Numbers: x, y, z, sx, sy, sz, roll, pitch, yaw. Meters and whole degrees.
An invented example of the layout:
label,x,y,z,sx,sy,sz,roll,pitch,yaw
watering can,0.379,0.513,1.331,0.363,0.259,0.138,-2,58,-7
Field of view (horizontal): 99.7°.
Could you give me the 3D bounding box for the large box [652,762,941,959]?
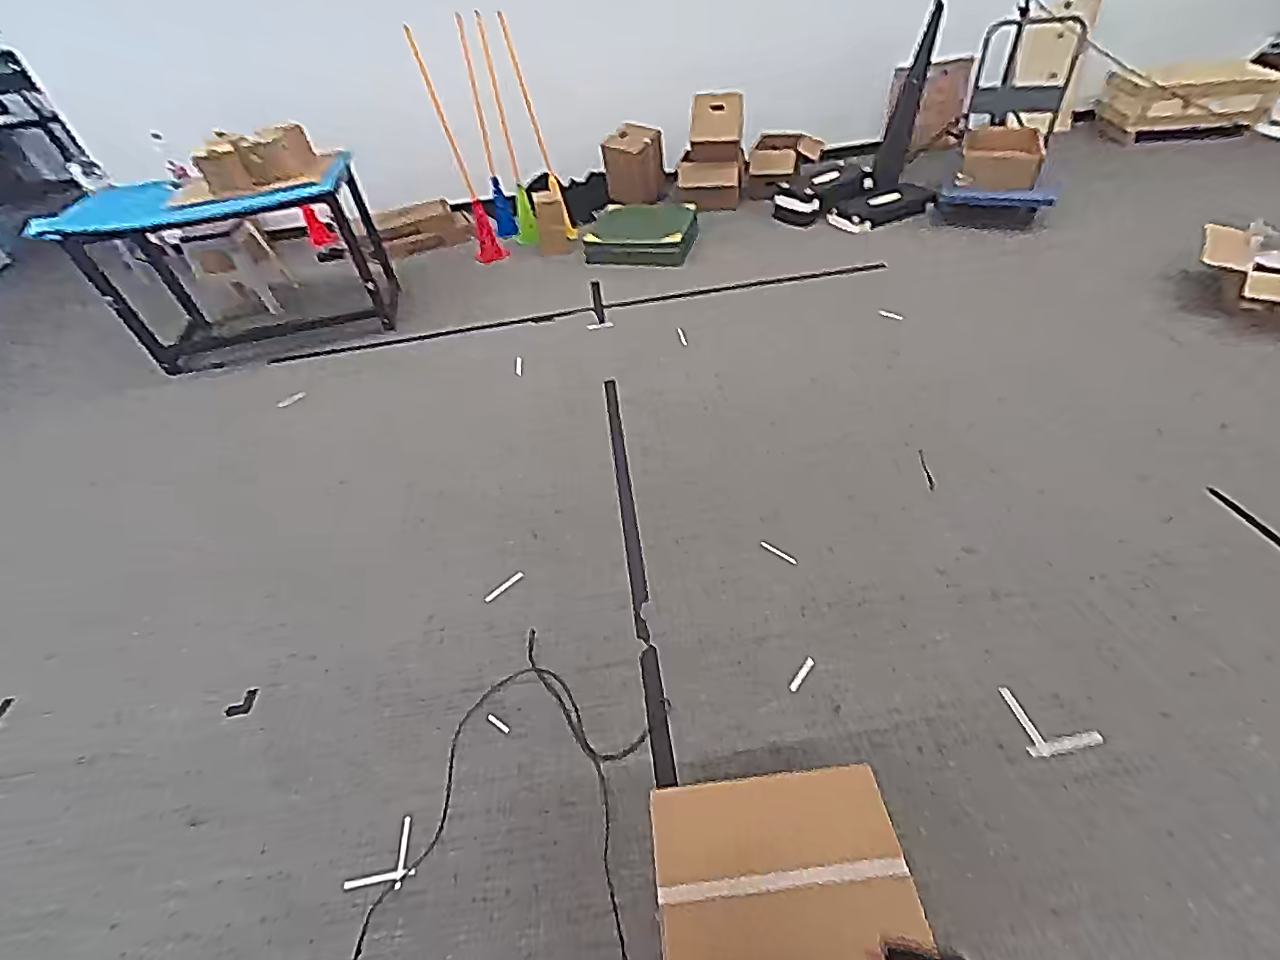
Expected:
label,x,y,z,sx,sy,sz,roll,pitch,yaw
large box,0.244,0.751,0.976,0.408,0.320,0.320,-7,45,0
